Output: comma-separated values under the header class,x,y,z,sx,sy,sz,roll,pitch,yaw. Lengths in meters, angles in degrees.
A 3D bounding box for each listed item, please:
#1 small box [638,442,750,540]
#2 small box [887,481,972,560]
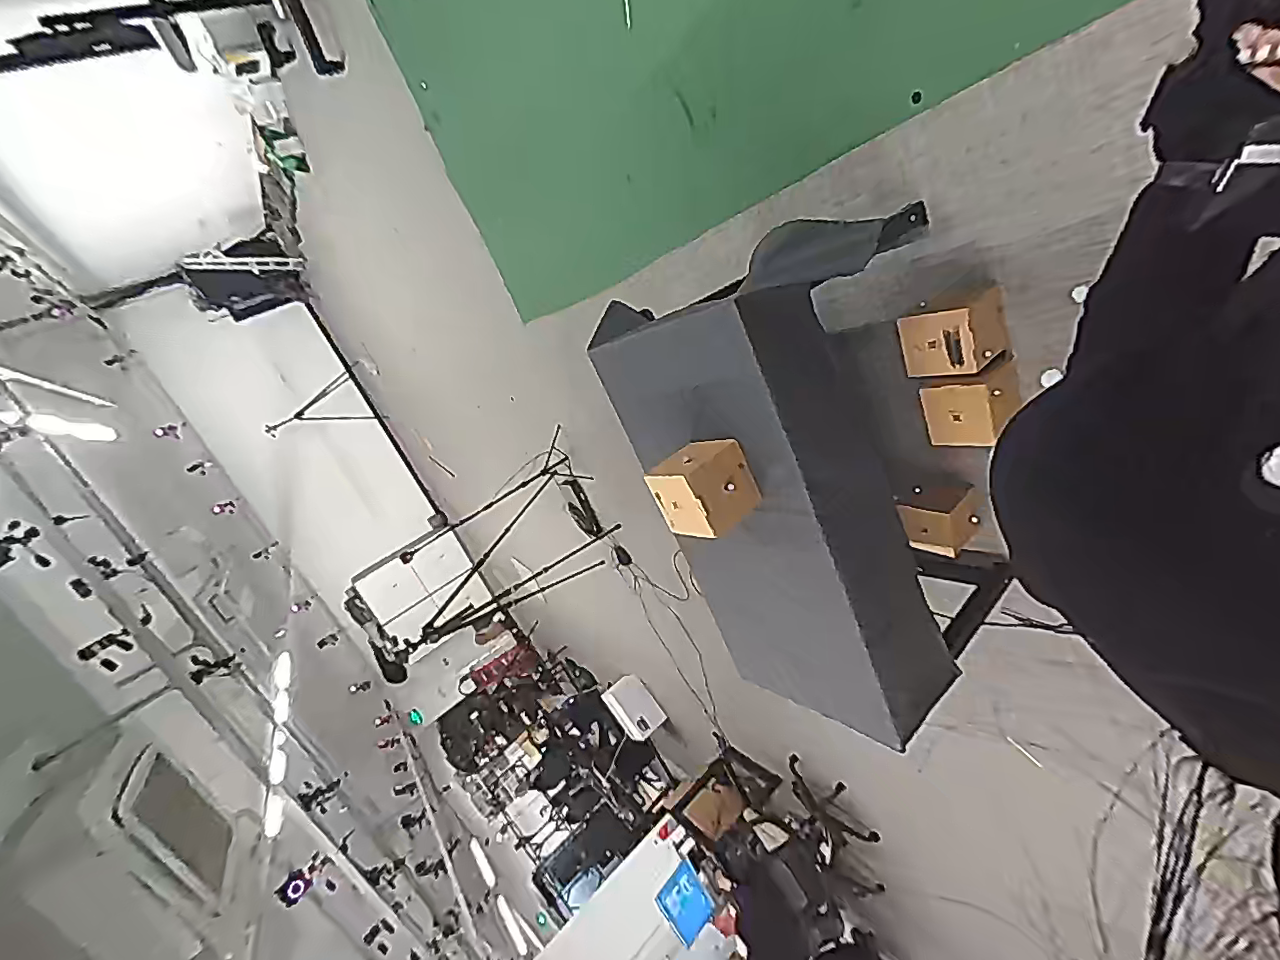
class,x,y,z,sx,sy,sz,roll,pitch,yaw
small box,0.133,0.021,1.262,0.179,0.176,0.168,-1,120,57
small box,0.916,0.119,1.707,0.179,0.176,0.168,15,134,52
